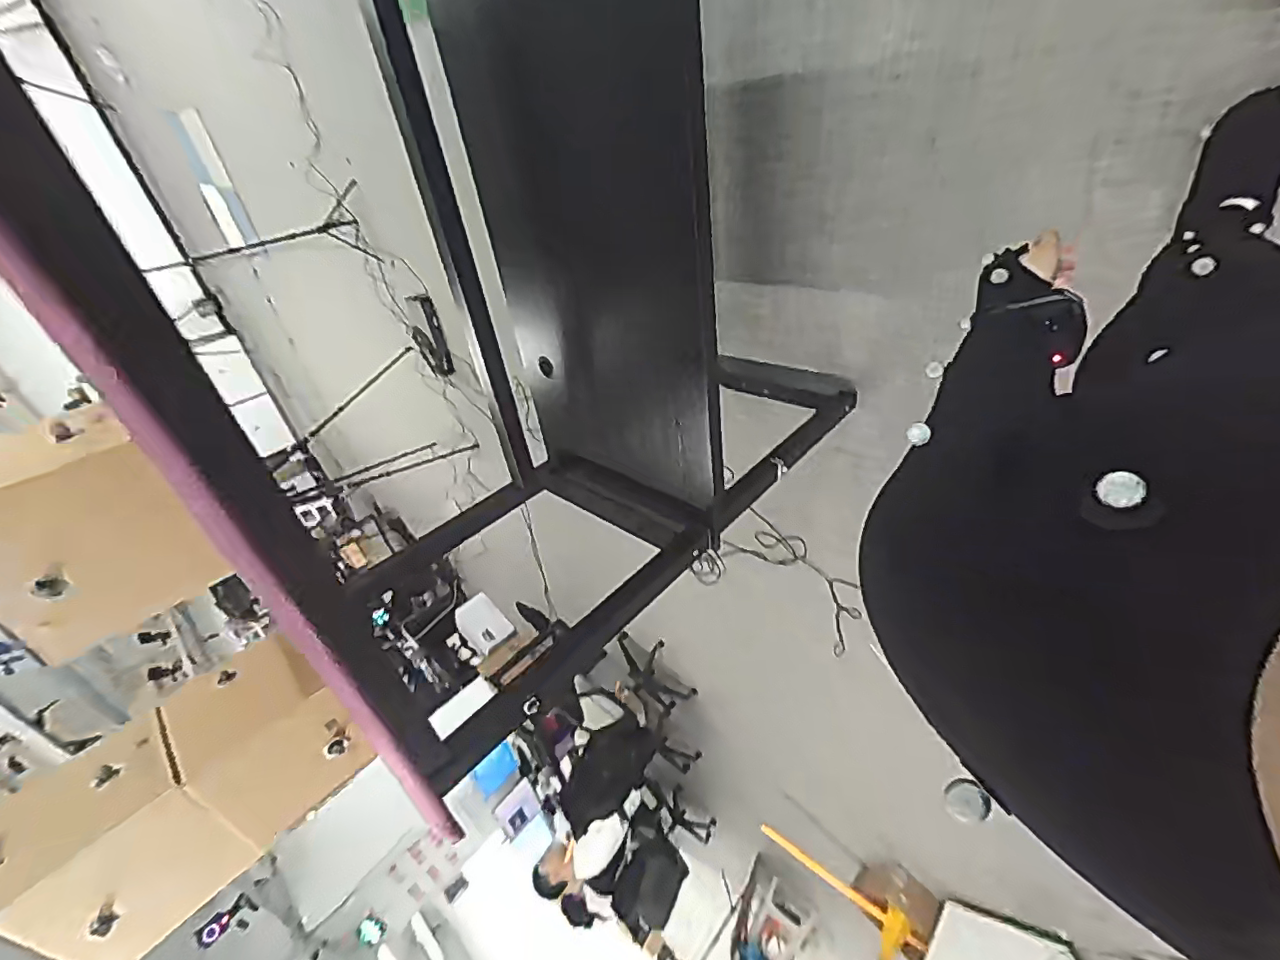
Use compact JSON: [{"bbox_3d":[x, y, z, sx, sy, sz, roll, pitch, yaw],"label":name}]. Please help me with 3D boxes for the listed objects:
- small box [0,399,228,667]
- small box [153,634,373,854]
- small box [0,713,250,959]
[{"bbox_3d":[-0.567,0.043,0.552,0.168,0.176,0.179,25,136,38],"label":"small box"},{"bbox_3d":[-0.496,0.338,0.728,0.179,0.176,0.168,19,134,40],"label":"small box"},{"bbox_3d":[-0.607,0.423,0.641,0.168,0.176,0.179,19,134,40],"label":"small box"}]
